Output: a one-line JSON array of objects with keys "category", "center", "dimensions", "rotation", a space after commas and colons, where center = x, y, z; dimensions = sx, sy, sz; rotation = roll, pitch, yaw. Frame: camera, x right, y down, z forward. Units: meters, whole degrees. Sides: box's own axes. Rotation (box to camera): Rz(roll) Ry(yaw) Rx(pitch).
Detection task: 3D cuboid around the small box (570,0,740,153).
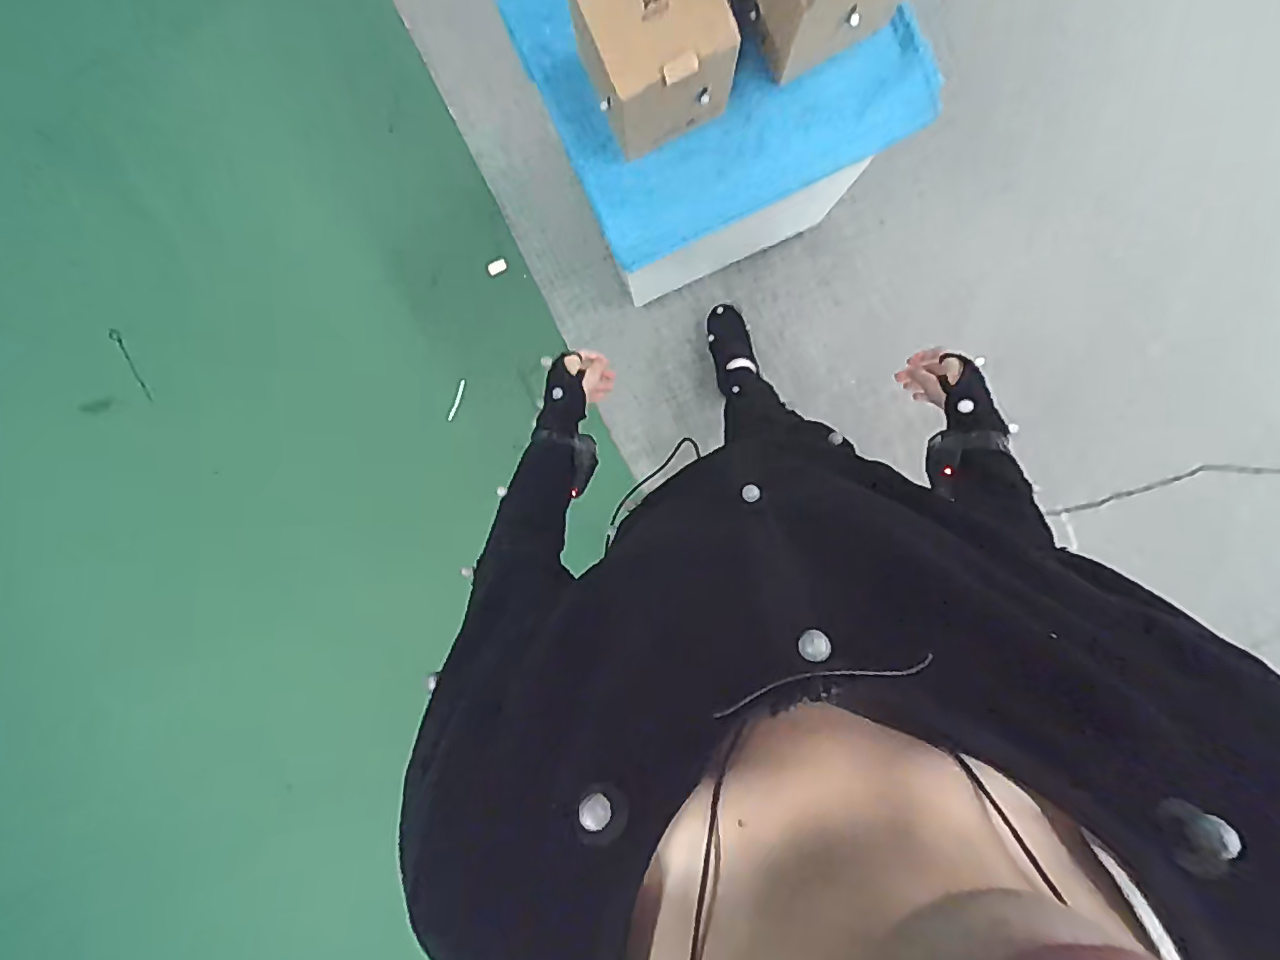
[{"category": "small box", "center": [0.018, -0.579, 0.727], "dimensions": [0.168, 0.176, 0.179], "rotation": [-24, 95, 4]}]
